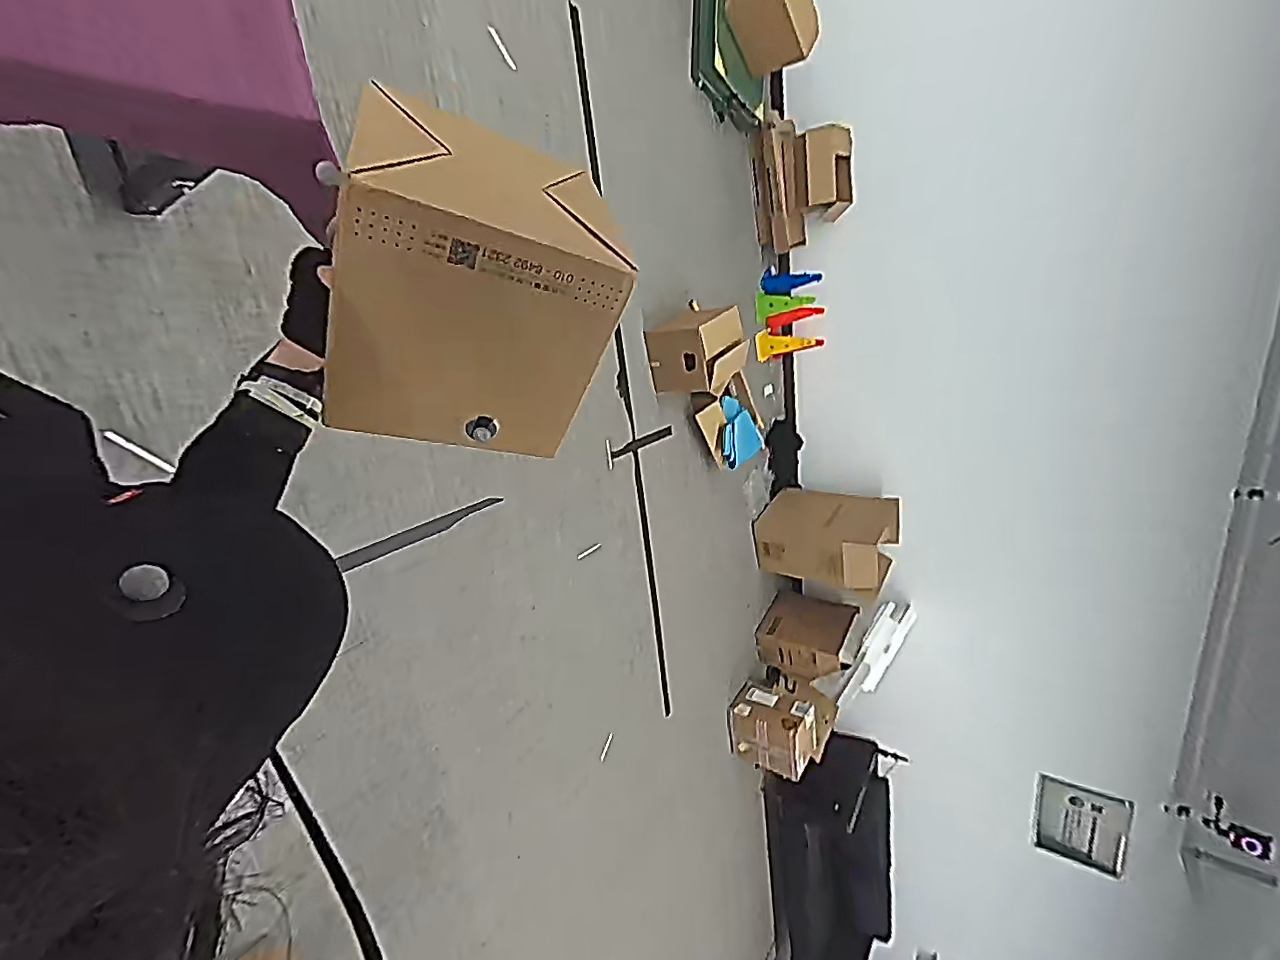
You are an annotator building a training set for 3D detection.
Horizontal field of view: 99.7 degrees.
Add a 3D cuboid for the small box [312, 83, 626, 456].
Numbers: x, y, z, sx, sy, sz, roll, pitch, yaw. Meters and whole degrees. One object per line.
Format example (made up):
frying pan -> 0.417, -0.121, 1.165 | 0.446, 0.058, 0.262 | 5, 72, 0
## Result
small box -> -0.127, -0.145, 0.390 | 0.168, 0.176, 0.179 | 8, 44, -28
